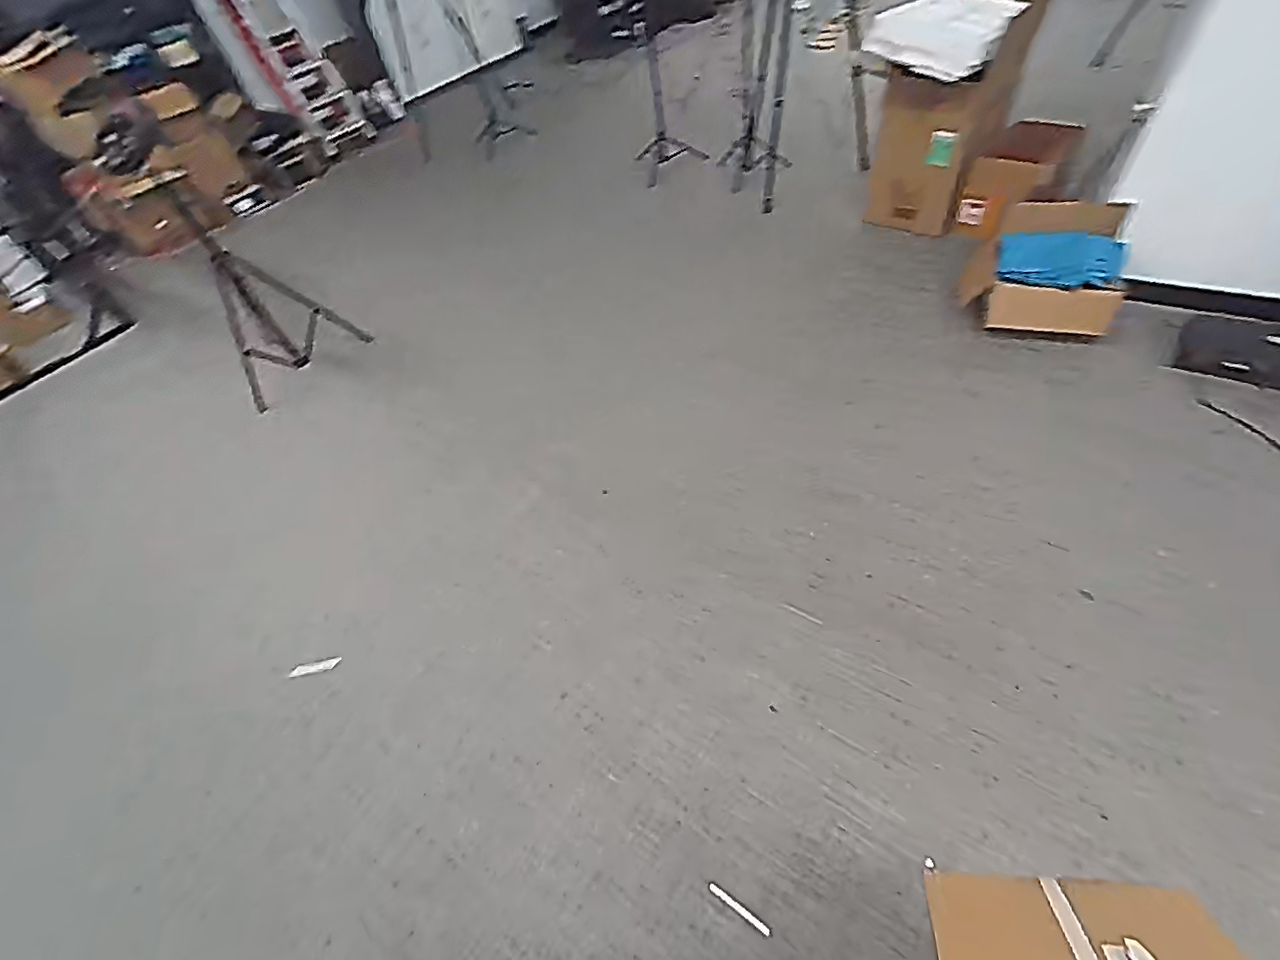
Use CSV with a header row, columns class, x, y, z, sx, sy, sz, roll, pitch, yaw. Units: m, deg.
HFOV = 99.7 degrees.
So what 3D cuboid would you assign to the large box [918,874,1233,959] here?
class,x,y,z,sx,sy,sz,roll,pitch,yaw
large box,0.521,0.711,0.564,0.320,0.408,0.320,-11,87,19
